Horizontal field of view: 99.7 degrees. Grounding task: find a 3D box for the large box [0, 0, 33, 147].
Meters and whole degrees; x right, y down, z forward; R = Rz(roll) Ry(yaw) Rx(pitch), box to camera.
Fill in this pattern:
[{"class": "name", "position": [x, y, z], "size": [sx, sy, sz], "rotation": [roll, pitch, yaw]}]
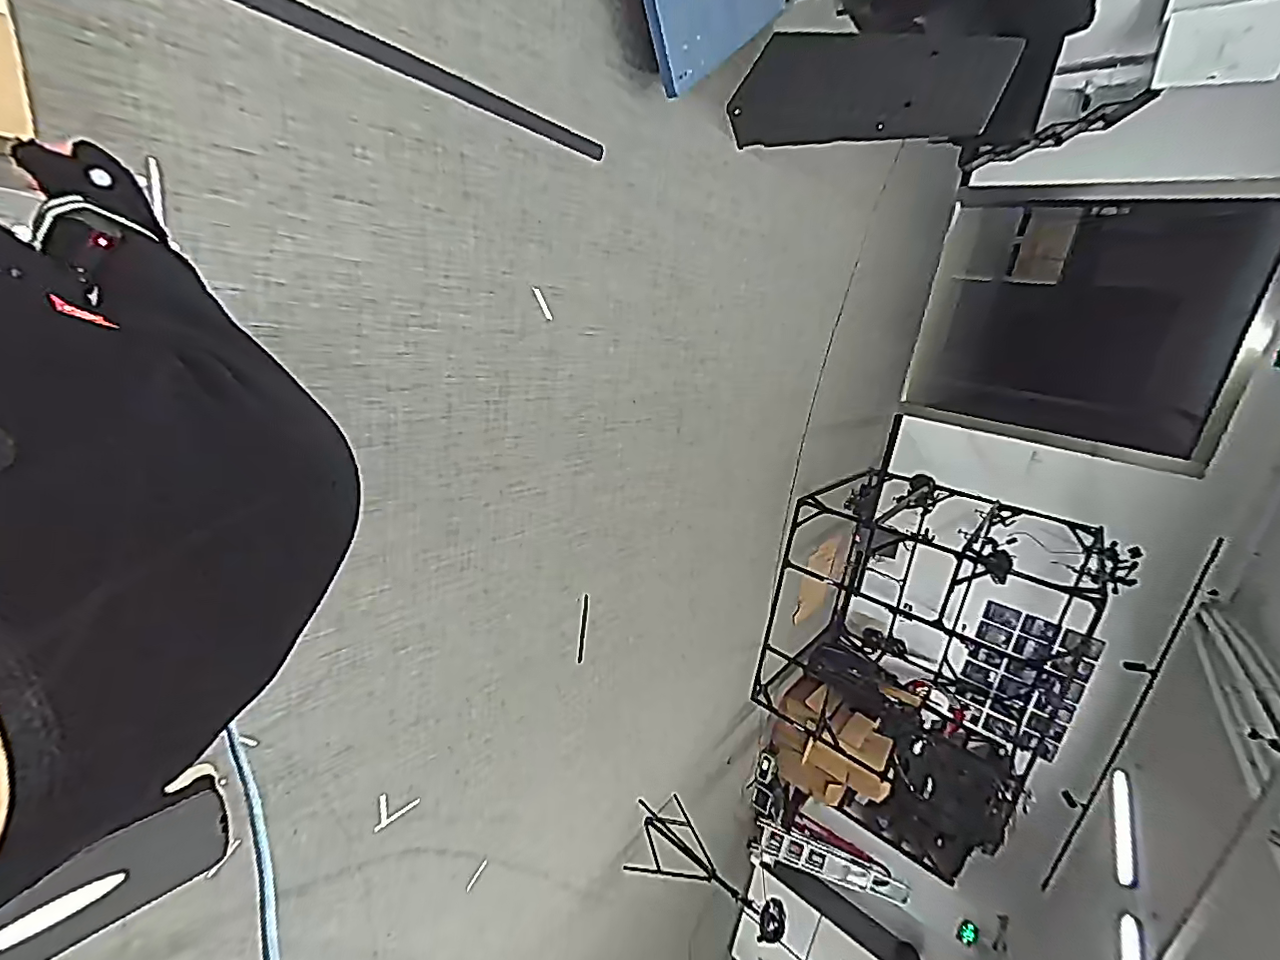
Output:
[{"class": "large box", "position": [-1.065, -0.625, 0.633], "size": [0.408, 0.320, 0.320], "rotation": [-17, 120, -51]}]
